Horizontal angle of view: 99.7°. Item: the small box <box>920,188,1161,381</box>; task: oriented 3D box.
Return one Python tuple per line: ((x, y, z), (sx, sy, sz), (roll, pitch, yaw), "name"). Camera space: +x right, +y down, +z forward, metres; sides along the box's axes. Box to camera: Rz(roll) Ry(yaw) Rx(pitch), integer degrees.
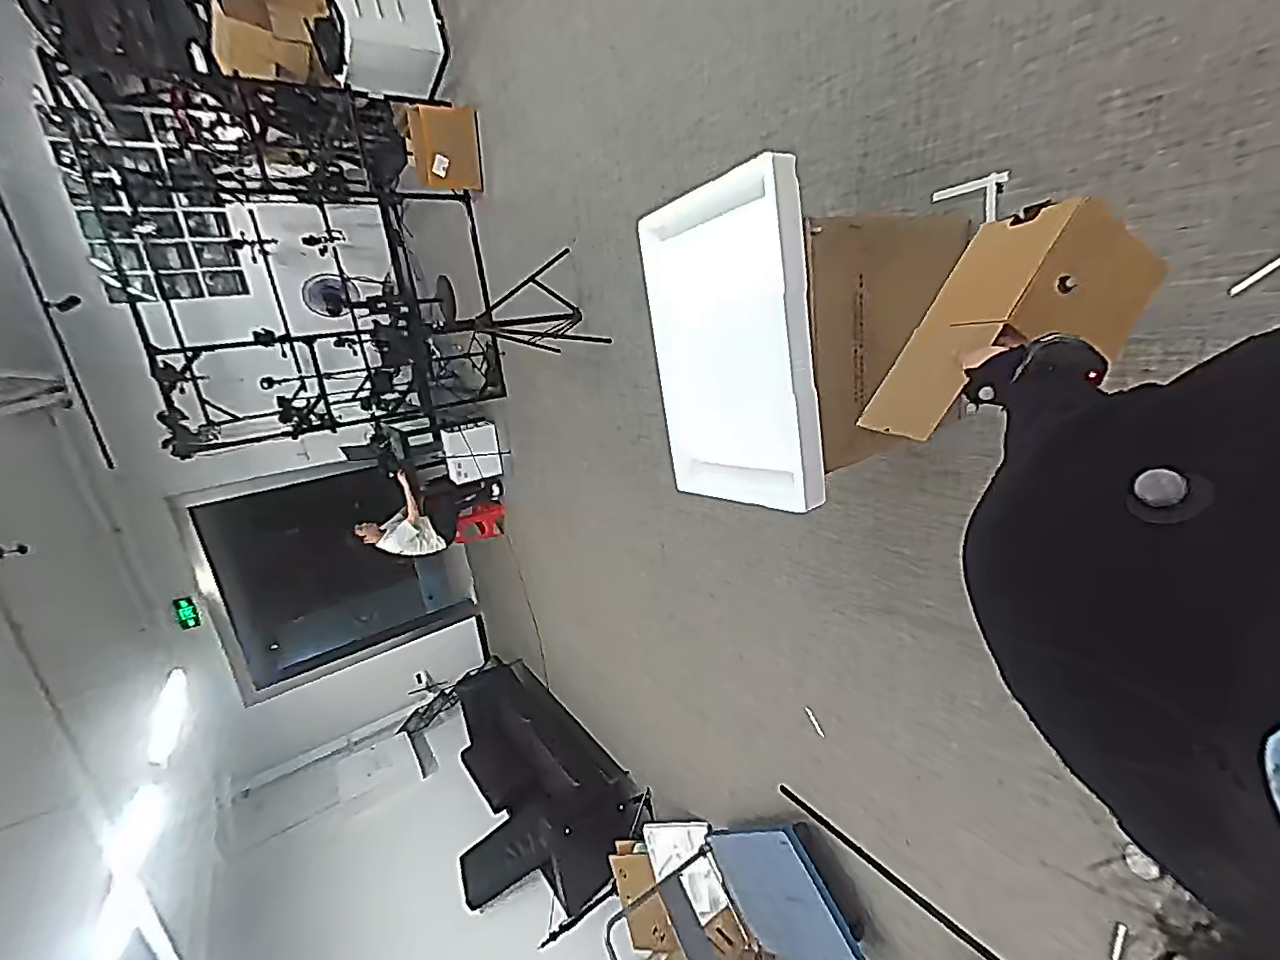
((0.540, -0.252, 0.739), (0.179, 0.176, 0.168), (-60, 16, 7), "small box")
